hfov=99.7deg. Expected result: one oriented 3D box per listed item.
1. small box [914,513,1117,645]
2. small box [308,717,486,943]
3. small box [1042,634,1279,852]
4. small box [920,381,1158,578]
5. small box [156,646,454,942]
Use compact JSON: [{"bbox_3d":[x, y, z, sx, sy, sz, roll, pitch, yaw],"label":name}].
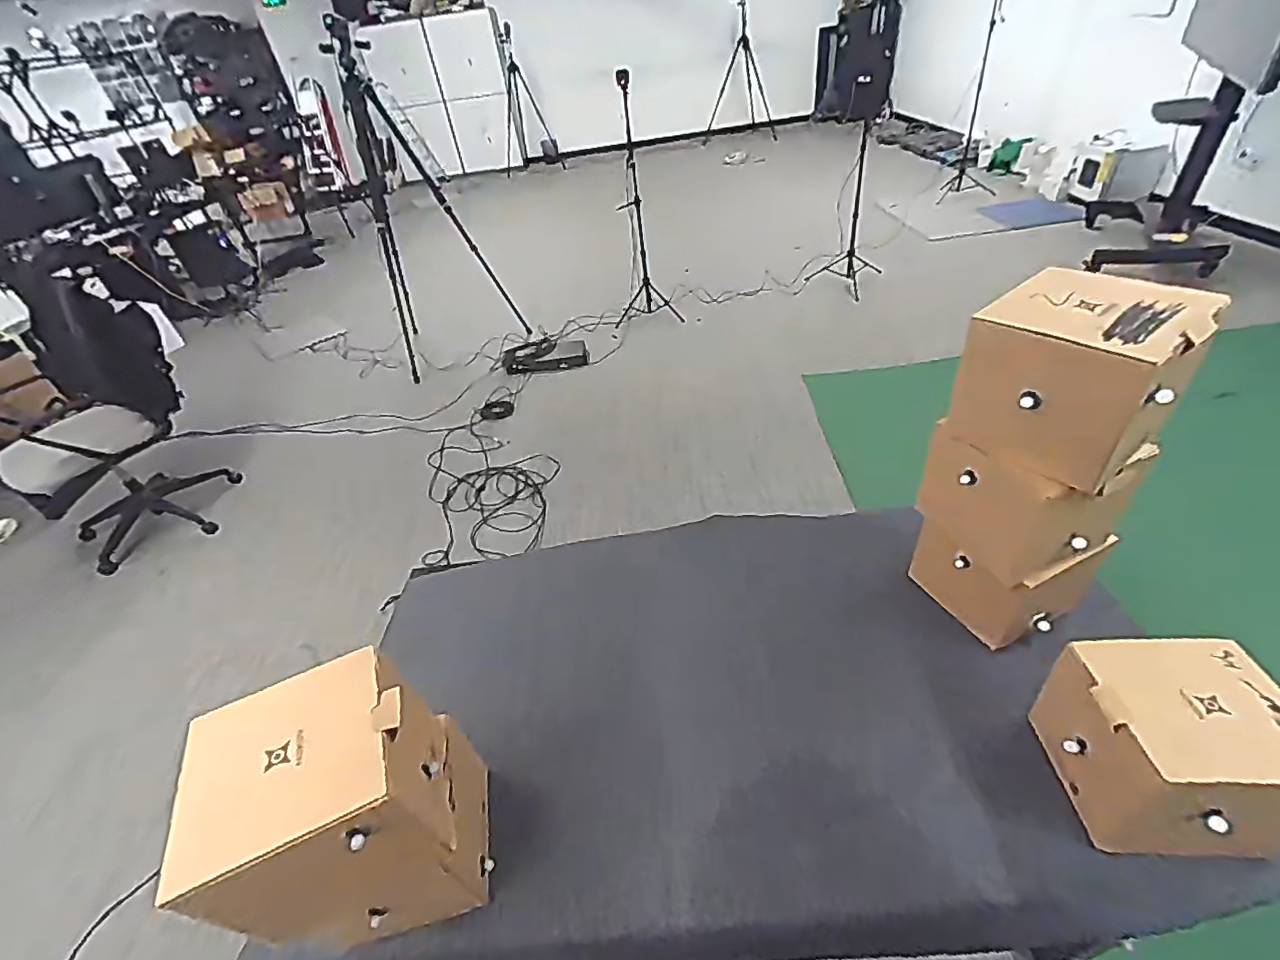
[{"bbox_3d":[0.559,0.117,0.836,0.168,0.176,0.179,-24,44,-12],"label":"small box"},{"bbox_3d":[-0.292,0.420,0.651,0.179,0.176,0.168,-14,41,-5],"label":"small box"},{"bbox_3d":[0.596,0.296,0.612,0.179,0.176,0.168,-4,37,8],"label":"small box"},{"bbox_3d":[0.513,-0.002,0.729,0.168,0.176,0.179,-21,42,-8],"label":"small box"},{"bbox_3d":[-0.309,0.308,0.534,0.179,0.176,0.168,-22,42,-15],"label":"small box"}]
